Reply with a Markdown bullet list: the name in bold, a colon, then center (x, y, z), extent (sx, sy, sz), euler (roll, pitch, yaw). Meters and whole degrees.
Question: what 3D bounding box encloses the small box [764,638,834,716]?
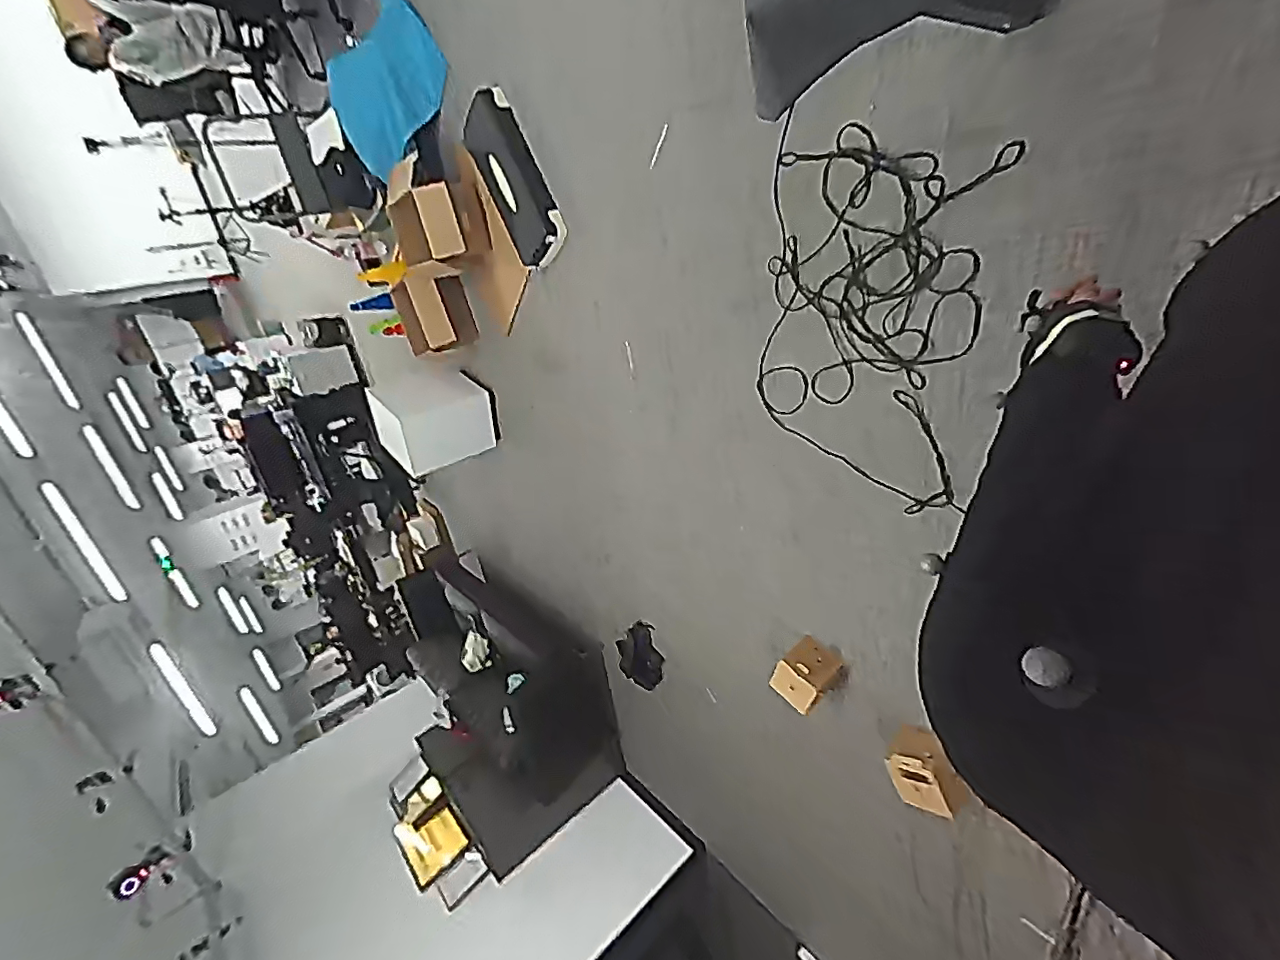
- **small box**: center (0.591, 0.727, 2.005), extent (0.168, 0.176, 0.179), euler (39, 138, 33)
